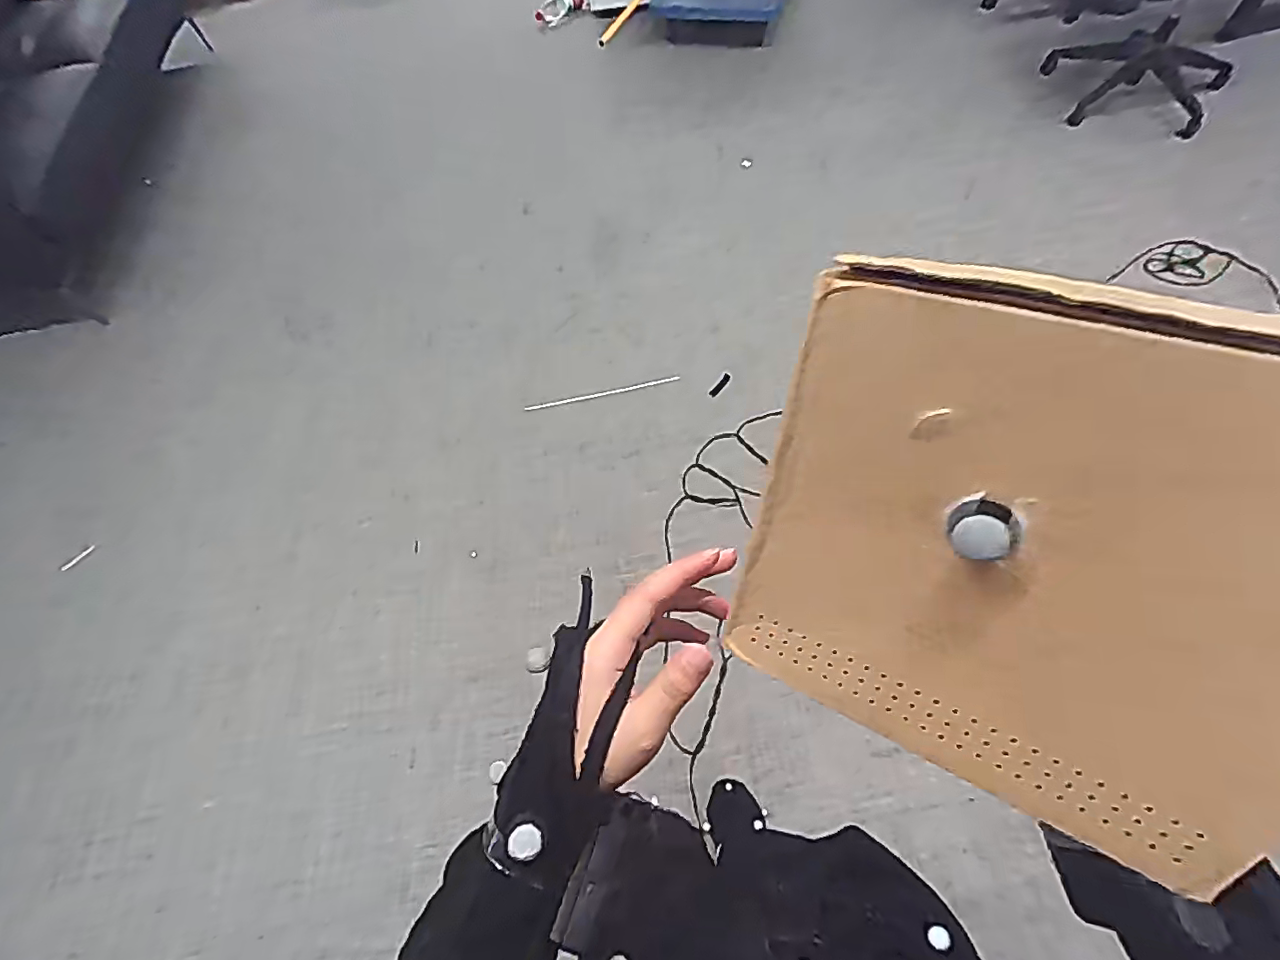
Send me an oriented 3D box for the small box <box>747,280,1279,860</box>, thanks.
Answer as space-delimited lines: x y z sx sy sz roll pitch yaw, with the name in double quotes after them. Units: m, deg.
0.165 0.015 0.242 0.179 0.176 0.168 21 31 25 "small box"
